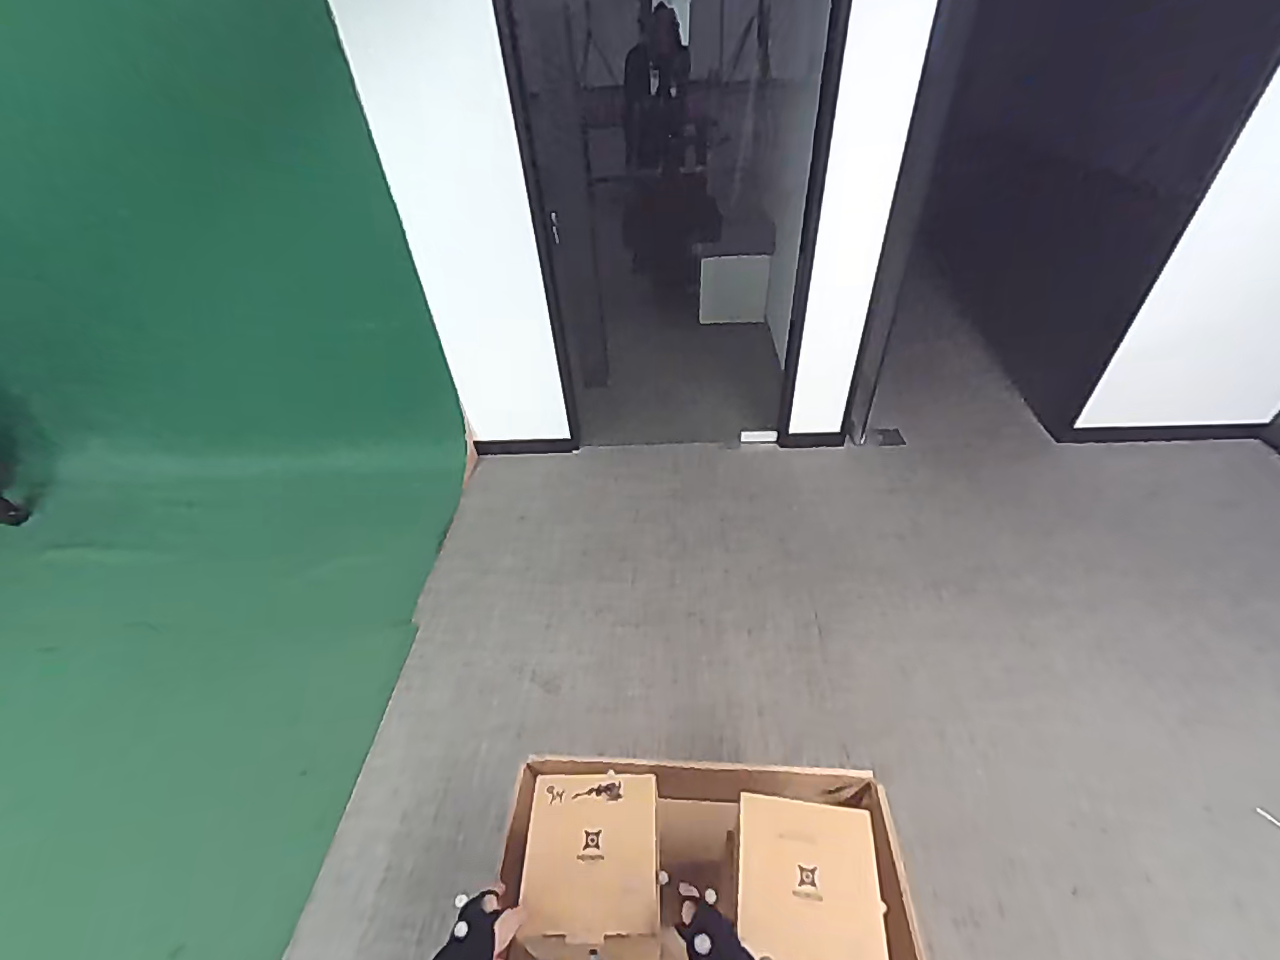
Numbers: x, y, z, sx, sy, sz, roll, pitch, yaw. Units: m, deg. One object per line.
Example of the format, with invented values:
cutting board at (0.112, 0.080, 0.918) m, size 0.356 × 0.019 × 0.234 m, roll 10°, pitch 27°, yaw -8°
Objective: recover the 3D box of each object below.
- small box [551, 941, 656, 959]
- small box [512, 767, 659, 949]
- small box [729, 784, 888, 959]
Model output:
small box at (-0.059, 0.621, 0.849) m, size 0.168 × 0.176 × 0.179 m, roll -2°, pitch 42°, yaw 3°
small box at (-0.059, 0.509, 0.728) m, size 0.168 × 0.176 × 0.179 m, roll -1°, pitch 43°, yaw 3°
small box at (0.204, 0.525, 0.693) m, size 0.168 × 0.176 × 0.179 m, roll 5°, pitch 43°, yaw 9°
